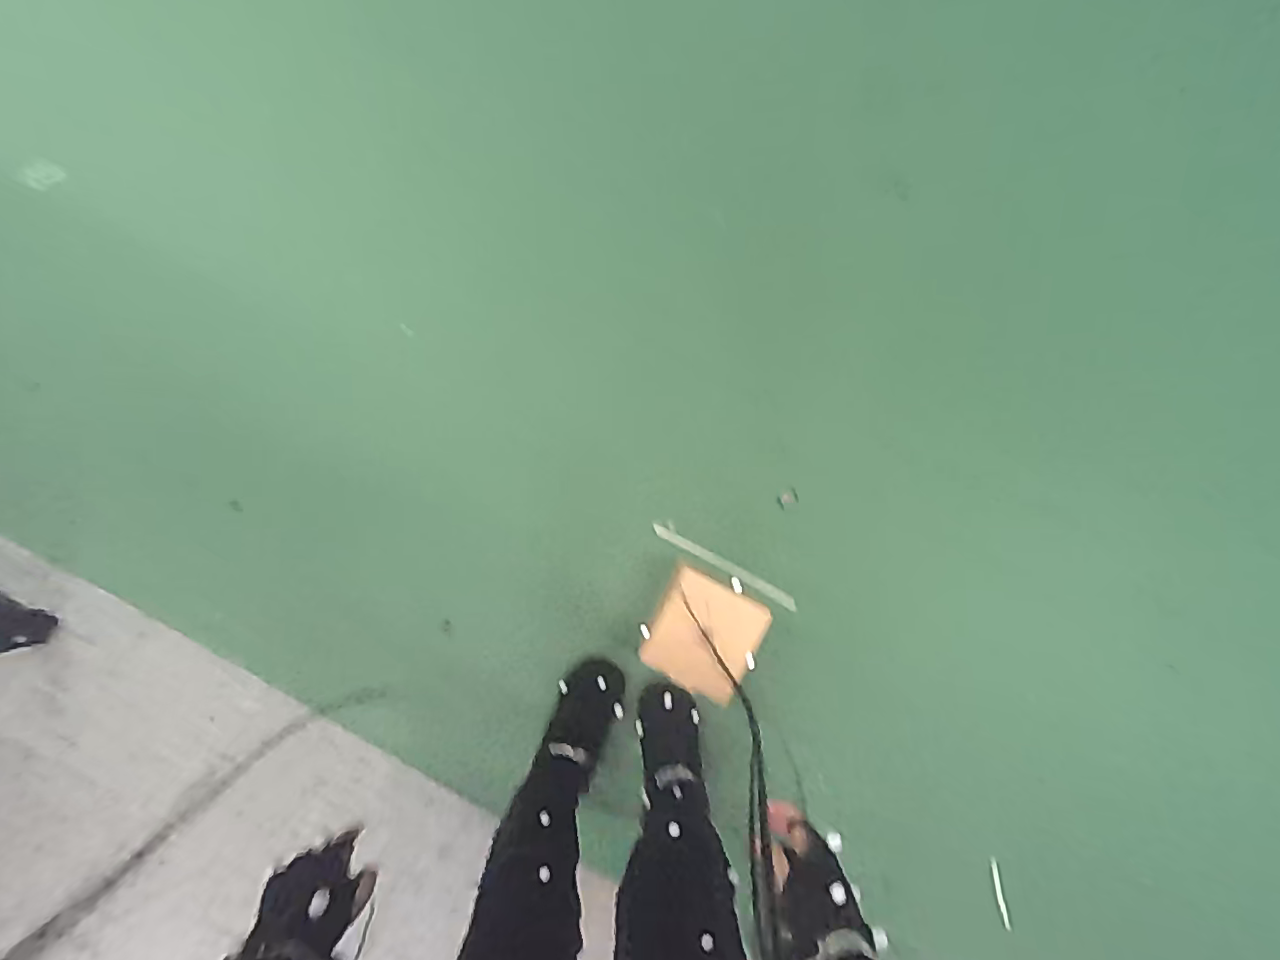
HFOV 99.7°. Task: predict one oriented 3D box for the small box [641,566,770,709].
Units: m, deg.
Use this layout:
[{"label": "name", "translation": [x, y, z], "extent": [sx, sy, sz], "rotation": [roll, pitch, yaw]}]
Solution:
[{"label": "small box", "translation": [0.111, 0.274, 0.991], "extent": [0.168, 0.176, 0.179], "rotation": [28, 90, 2]}]
